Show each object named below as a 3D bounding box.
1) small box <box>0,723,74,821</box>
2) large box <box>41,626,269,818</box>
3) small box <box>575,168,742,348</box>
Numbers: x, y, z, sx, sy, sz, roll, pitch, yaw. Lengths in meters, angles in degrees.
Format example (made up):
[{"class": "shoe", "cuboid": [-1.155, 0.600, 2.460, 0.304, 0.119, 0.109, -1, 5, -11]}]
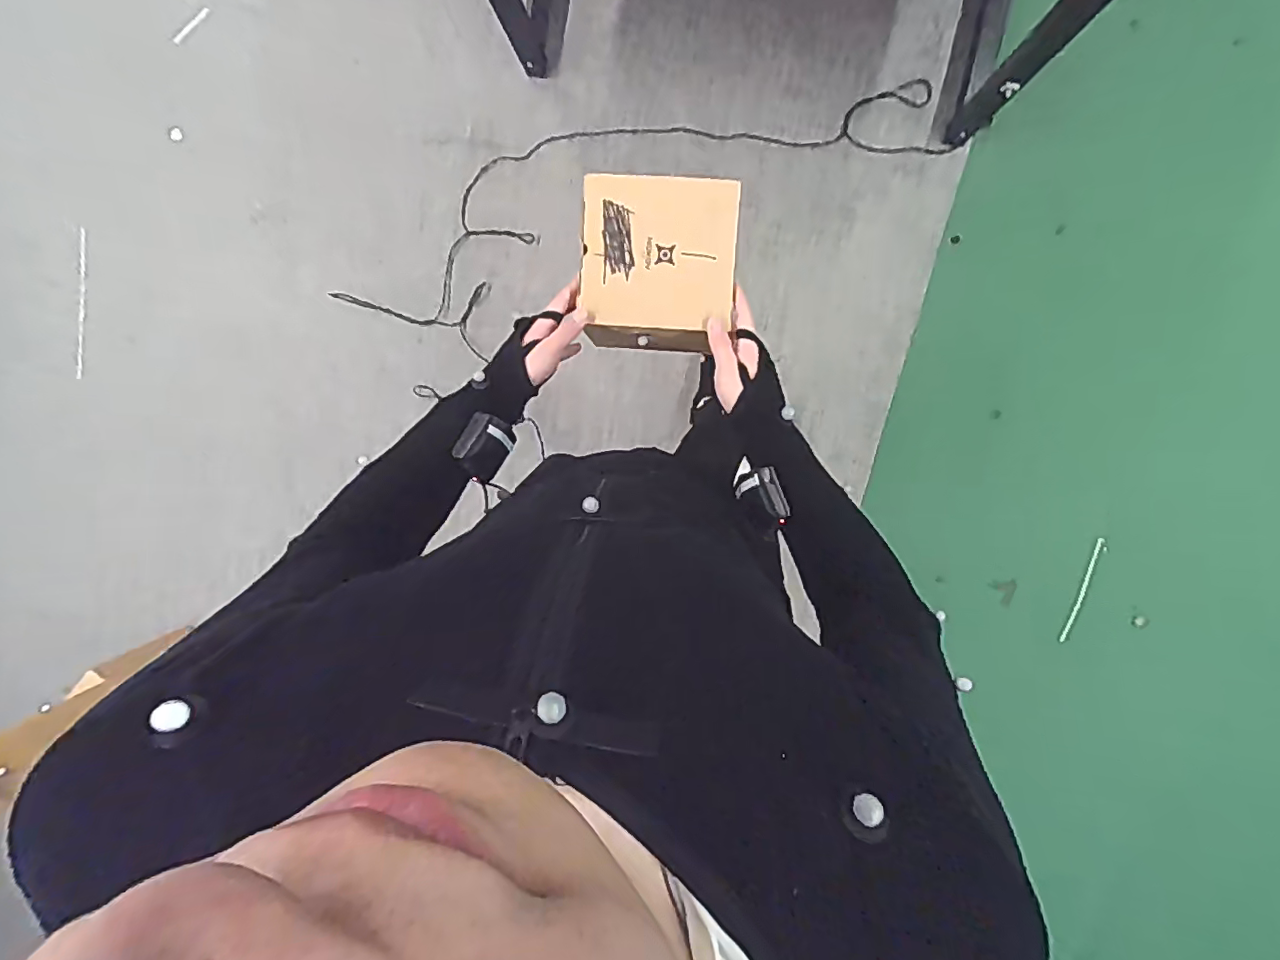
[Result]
[{"class": "small box", "cuboid": [-1.581, 0.732, 1.325, 0.168, 0.176, 0.179, -41, 94, 9]}, {"class": "large box", "cuboid": [-1.536, 0.757, 1.740, 0.408, 0.320, 0.320, 44, 101, -3]}, {"class": "small box", "cuboid": [0.023, -0.262, 0.675, 0.179, 0.176, 0.168, 4, 96, 1]}]
